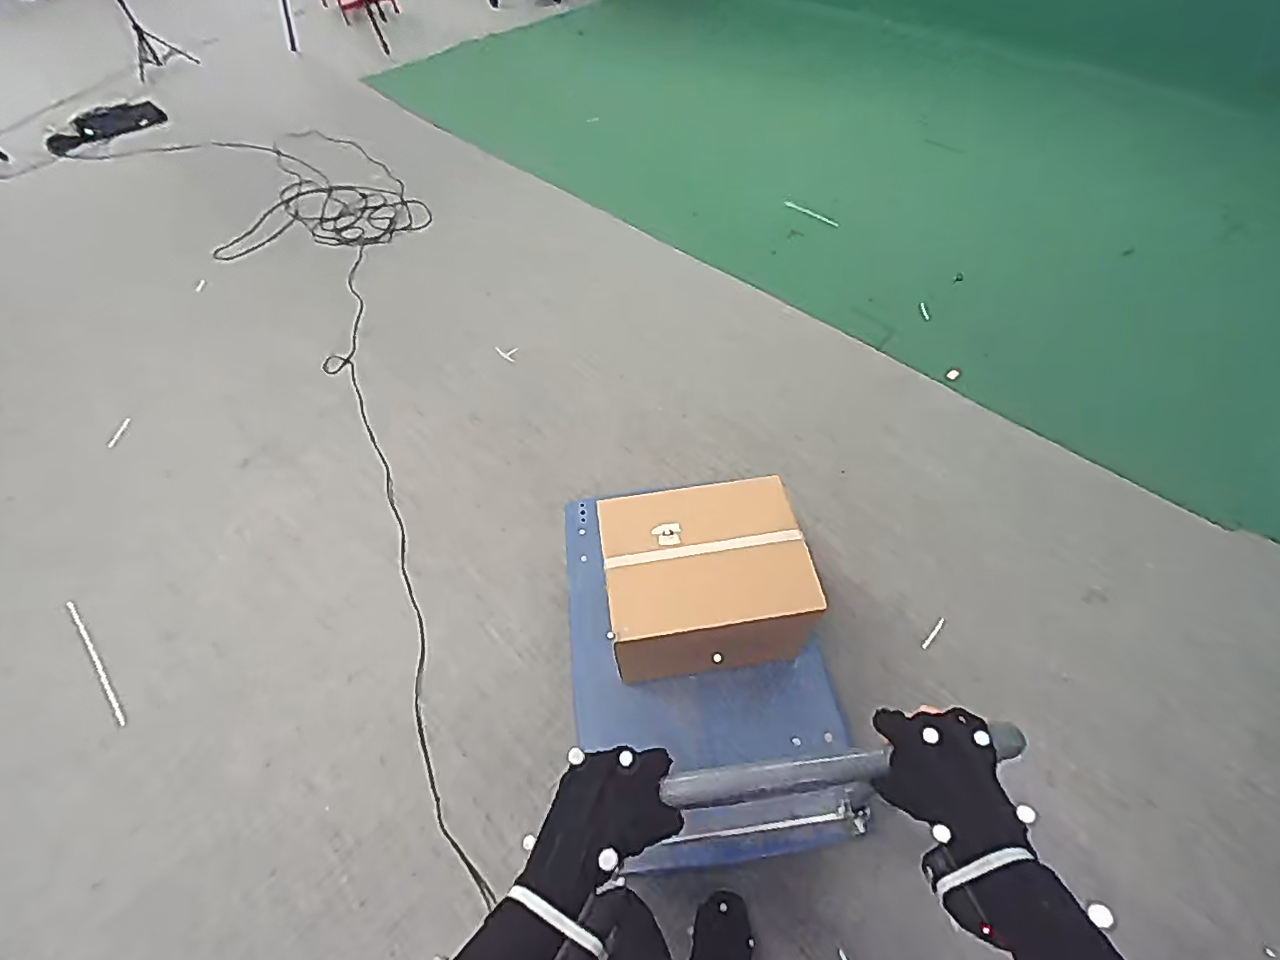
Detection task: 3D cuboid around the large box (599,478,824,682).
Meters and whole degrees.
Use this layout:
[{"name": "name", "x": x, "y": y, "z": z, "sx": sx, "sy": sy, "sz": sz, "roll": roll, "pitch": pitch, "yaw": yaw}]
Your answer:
[{"name": "large box", "x": 0.139, "y": 0.232, "z": 1.214, "sx": 0.408, "sy": 0.320, "sz": 0.320, "roll": -9, "pitch": 55, "yaw": -3}]
